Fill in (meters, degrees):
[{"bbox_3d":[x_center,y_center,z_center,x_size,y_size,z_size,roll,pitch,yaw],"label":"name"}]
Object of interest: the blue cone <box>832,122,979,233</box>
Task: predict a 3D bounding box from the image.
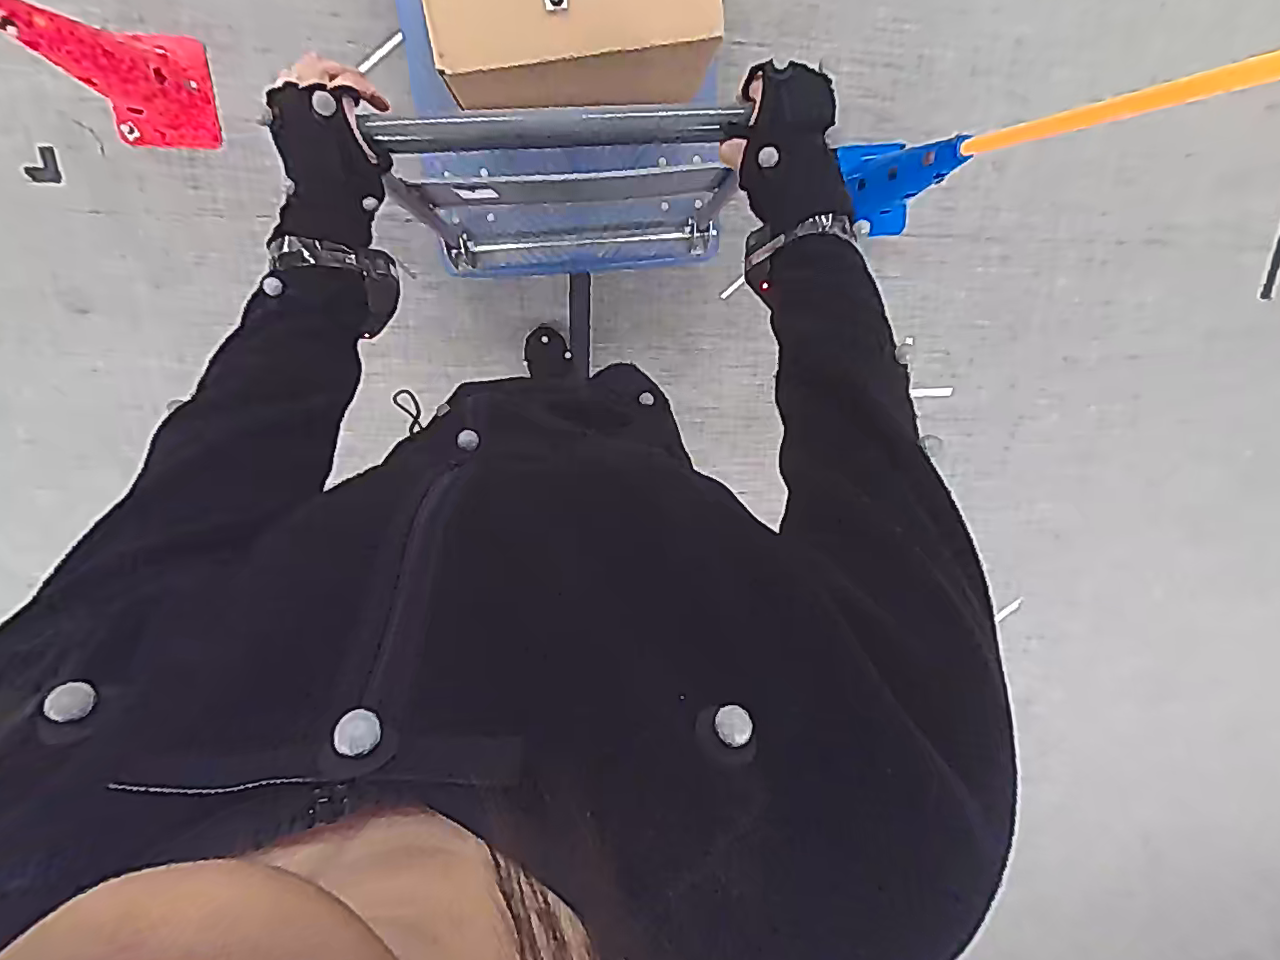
[{"bbox_3d":[0.563,-0.649,1.128,0.193,0.380,0.192,-4,106,-5],"label":"blue cone"}]
